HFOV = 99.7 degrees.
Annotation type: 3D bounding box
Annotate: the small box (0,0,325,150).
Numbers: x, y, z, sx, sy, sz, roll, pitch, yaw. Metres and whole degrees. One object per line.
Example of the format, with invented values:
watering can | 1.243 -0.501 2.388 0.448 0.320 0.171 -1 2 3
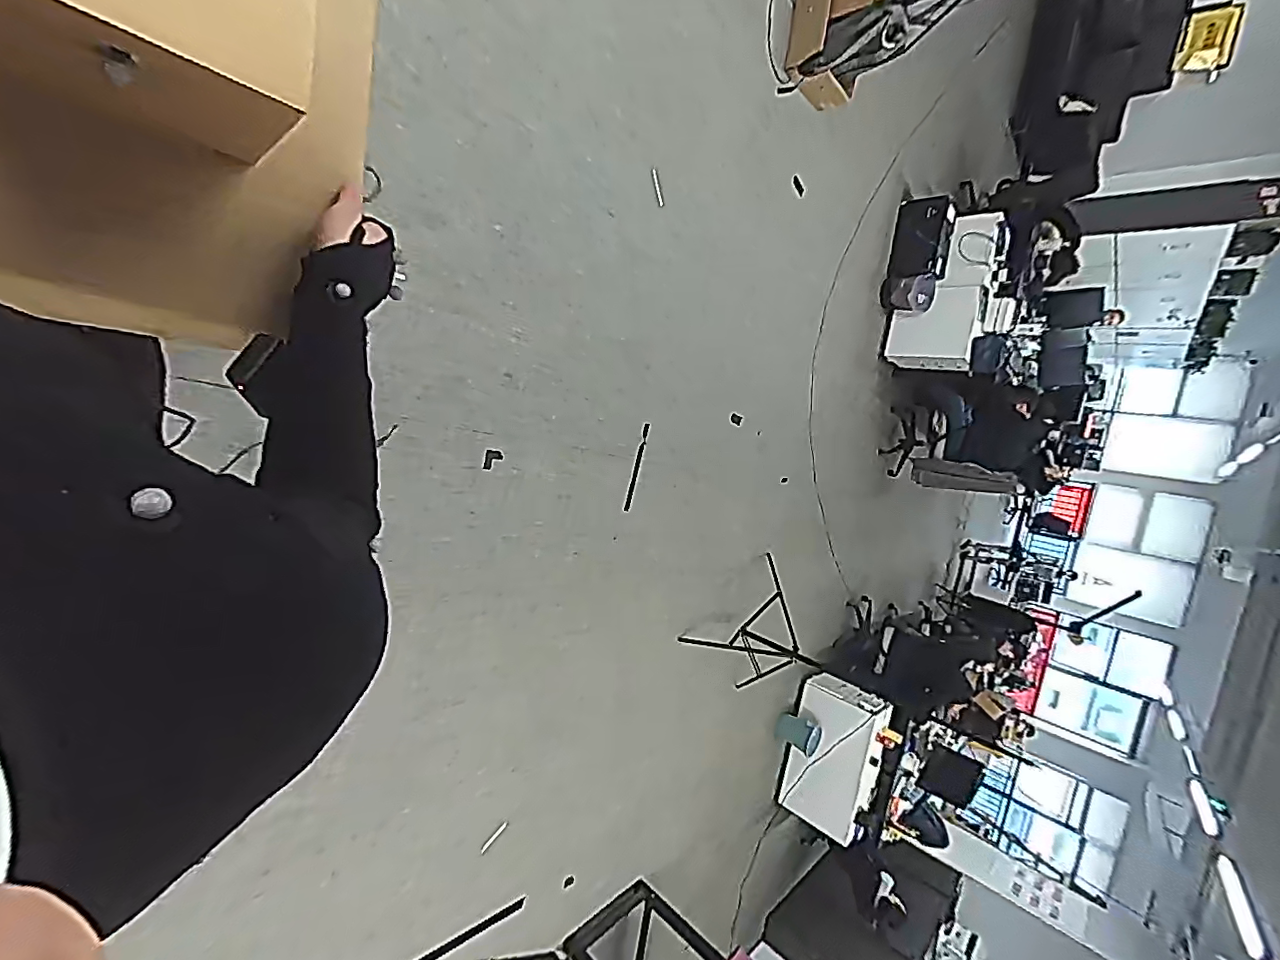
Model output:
small box | -0.340 -0.359 0.377 0.179 0.176 0.168 2 100 -46
